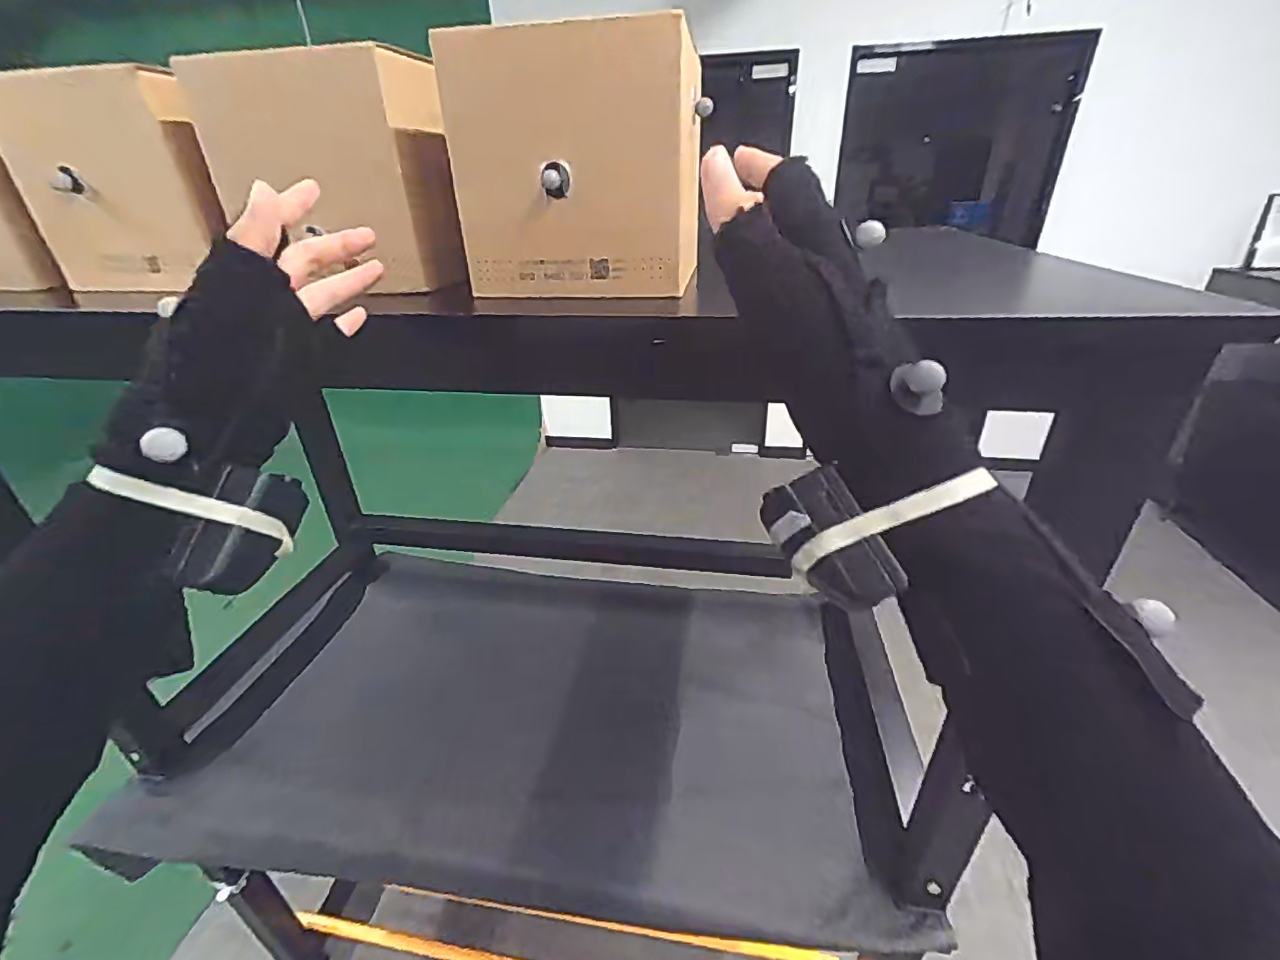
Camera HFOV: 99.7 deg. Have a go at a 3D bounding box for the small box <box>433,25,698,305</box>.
[{"bbox_3d":[-0.040,-0.246,0.451,0.168,0.176,0.179,3,29,8],"label":"small box"}]

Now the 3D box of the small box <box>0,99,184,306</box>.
[{"bbox_3d":[-0.634,-0.287,0.566,0.168,0.176,0.179,3,30,8],"label":"small box"}]
